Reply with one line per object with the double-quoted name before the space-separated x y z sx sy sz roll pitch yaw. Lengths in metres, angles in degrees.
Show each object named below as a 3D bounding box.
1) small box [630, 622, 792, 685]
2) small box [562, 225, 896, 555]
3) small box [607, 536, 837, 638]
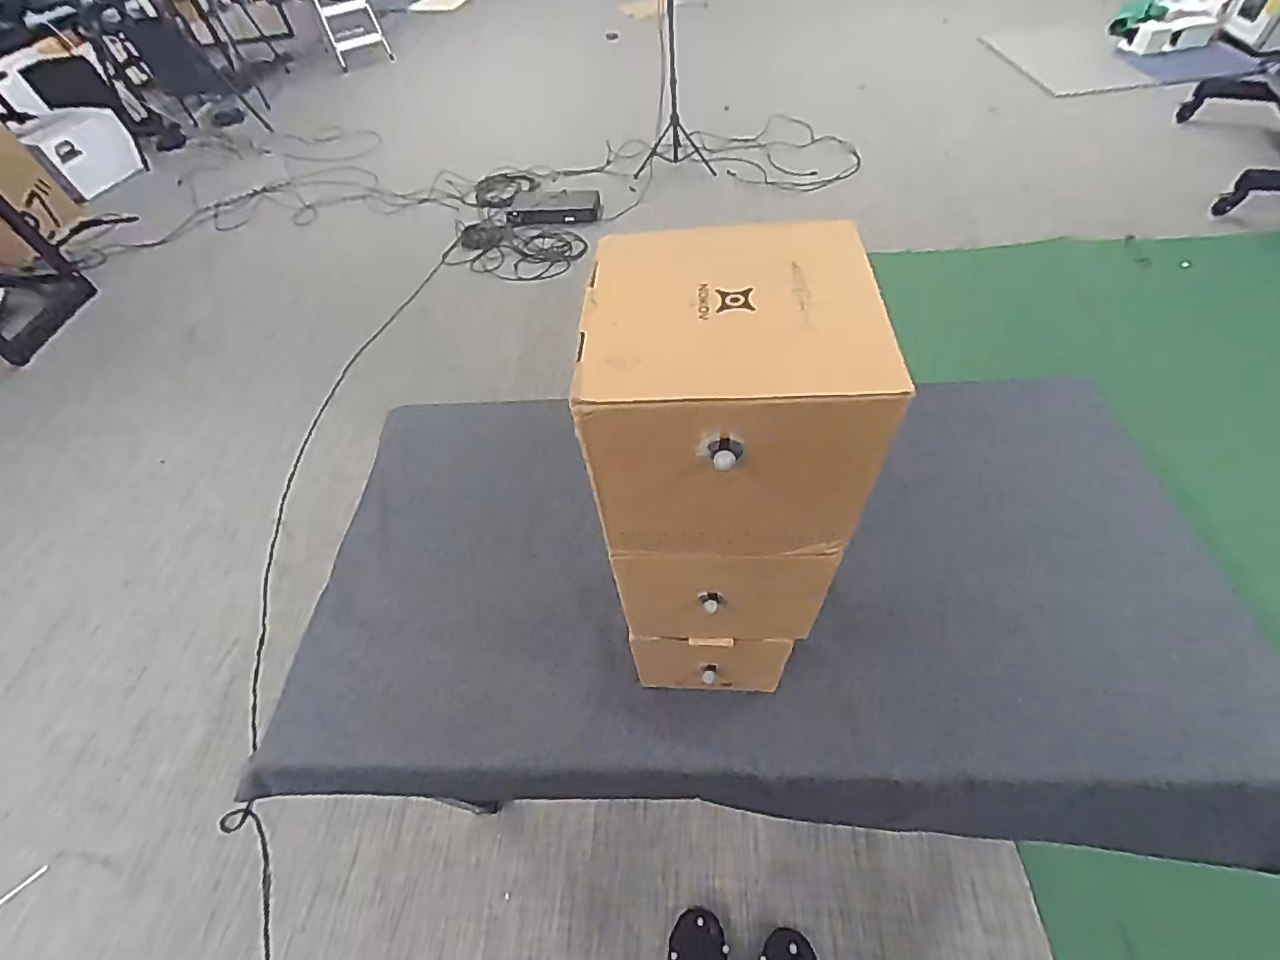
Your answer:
"small box" 0.085 0.138 0.651 0.168 0.176 0.179 -2 53 7
"small box" 0.055 -0.055 0.389 0.179 0.176 0.168 -2 54 6
"small box" 0.073 0.042 0.517 0.179 0.176 0.168 -3 53 7
